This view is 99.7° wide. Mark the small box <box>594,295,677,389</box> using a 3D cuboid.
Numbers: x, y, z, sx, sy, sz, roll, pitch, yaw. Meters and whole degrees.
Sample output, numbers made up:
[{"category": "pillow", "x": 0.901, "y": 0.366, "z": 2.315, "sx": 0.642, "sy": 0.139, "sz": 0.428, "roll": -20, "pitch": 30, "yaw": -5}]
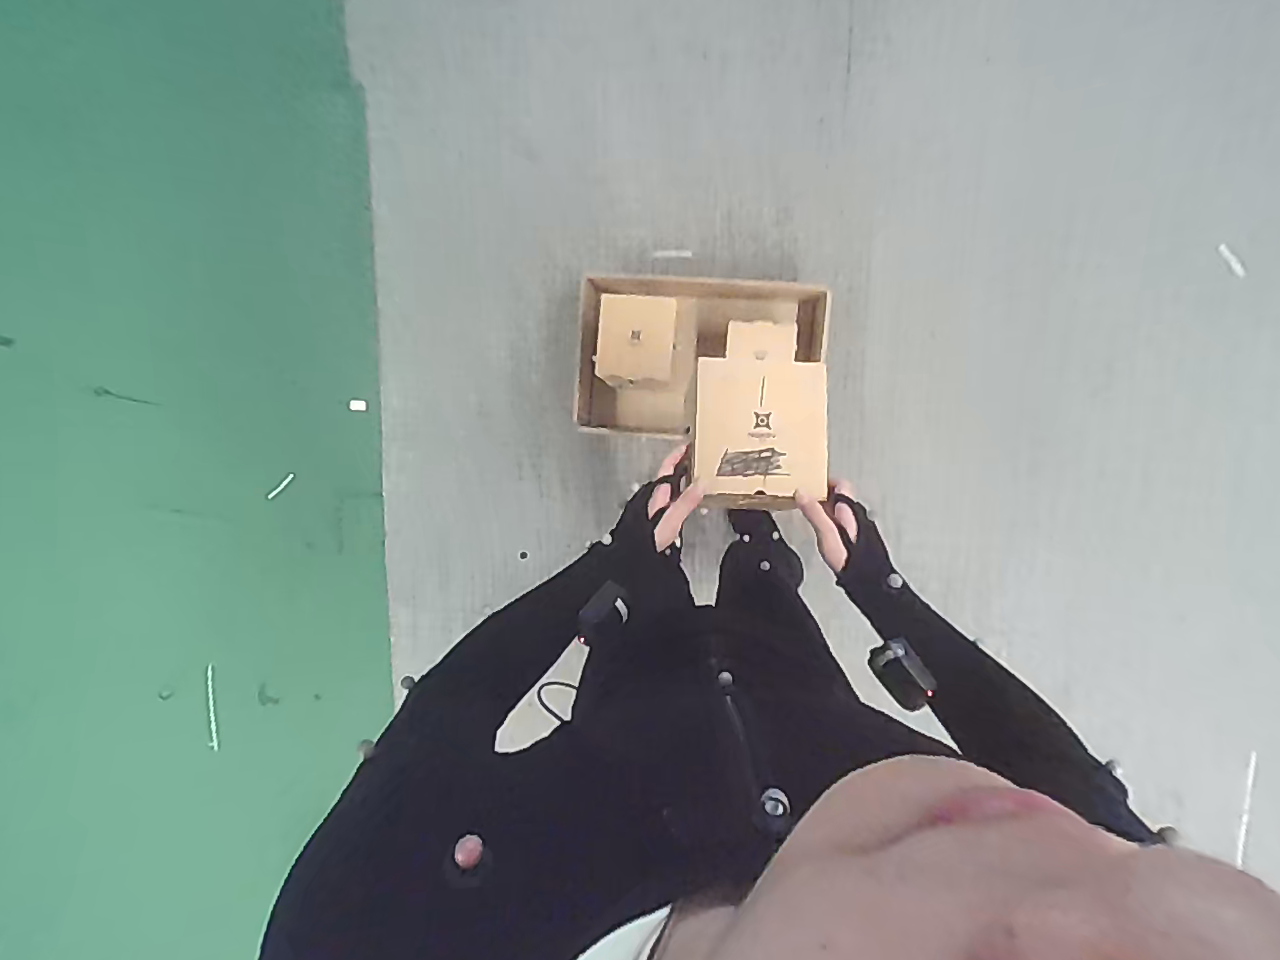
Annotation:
[{"category": "small box", "x": -0.006, "y": -0.309, "z": 1.239, "sx": 0.168, "sy": 0.176, "sz": 0.179, "roll": 5, "pitch": 96, "yaw": 4}]

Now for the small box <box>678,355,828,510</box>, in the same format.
[{"category": "small box", "x": 0.143, "y": -0.054, "z": 0.730, "sx": 0.168, "sy": 0.176, "sz": 0.179, "roll": 2, "pitch": 81, "yaw": -2}]
